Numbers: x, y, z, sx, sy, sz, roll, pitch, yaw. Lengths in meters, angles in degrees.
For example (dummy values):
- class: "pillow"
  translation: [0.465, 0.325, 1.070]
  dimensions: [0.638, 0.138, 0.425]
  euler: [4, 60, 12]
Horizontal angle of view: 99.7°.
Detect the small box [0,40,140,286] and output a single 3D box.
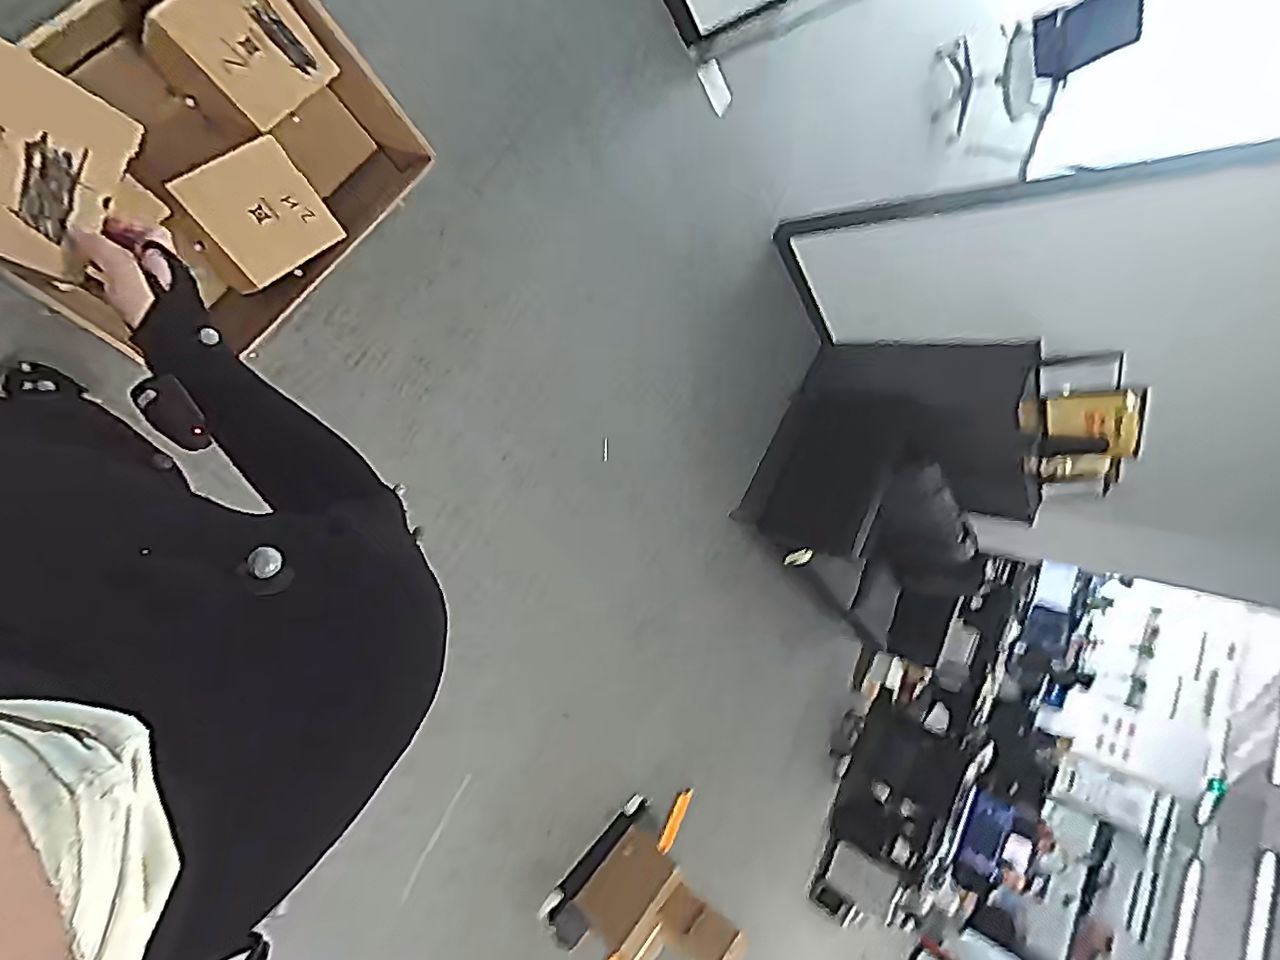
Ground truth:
- class: "small box"
  translation: [-0.598, -0.293, 0.462]
  dimensions: [0.179, 0.176, 0.168]
  euler: [24, 84, -63]
